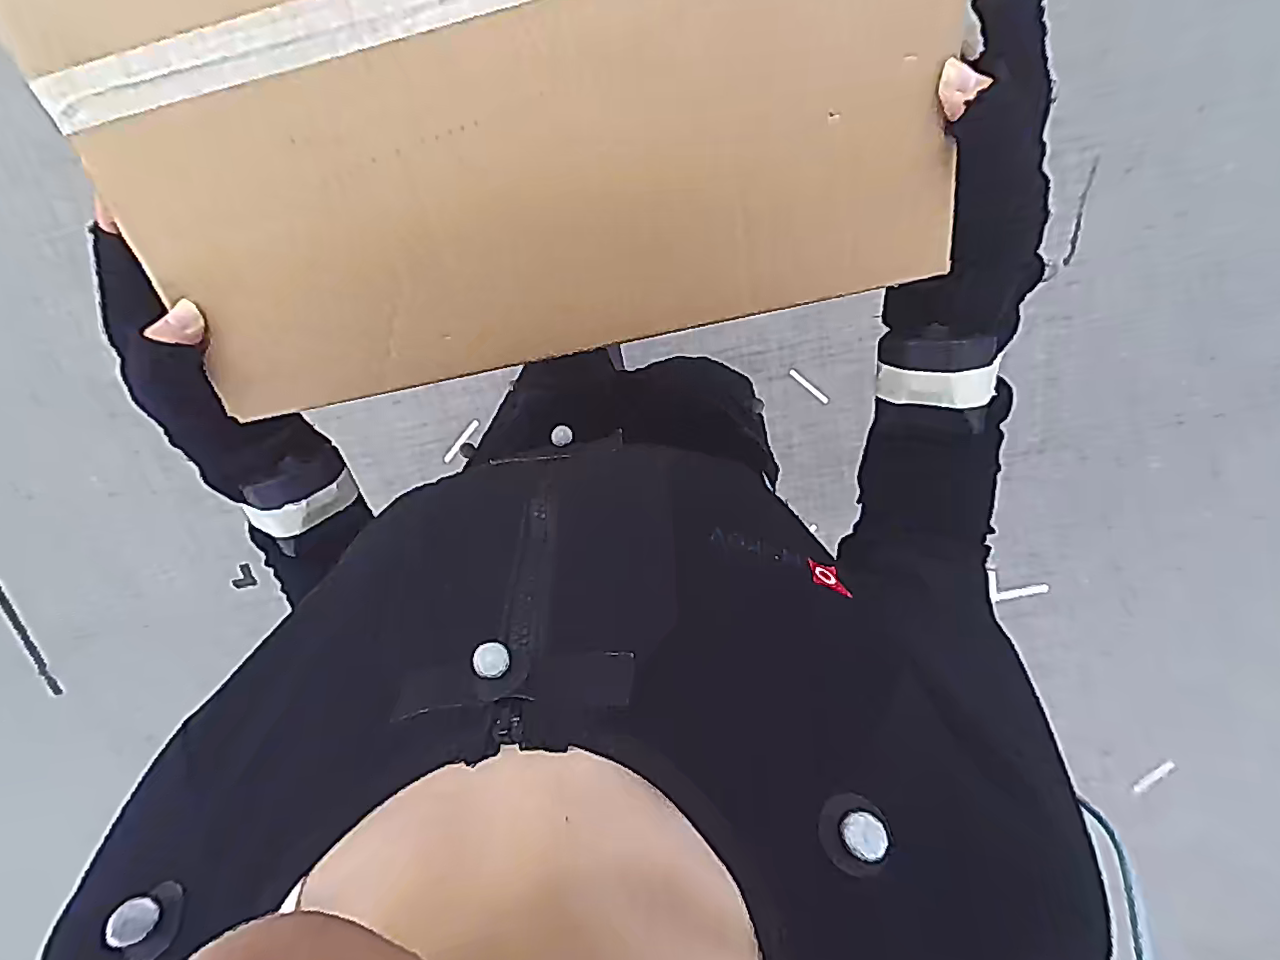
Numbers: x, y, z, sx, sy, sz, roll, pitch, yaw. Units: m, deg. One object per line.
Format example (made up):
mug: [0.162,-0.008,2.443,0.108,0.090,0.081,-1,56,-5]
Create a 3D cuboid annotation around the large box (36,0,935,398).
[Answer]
large box: [-0.072,-0.286,0.374,0.408,0.320,0.320,-11,117,6]
